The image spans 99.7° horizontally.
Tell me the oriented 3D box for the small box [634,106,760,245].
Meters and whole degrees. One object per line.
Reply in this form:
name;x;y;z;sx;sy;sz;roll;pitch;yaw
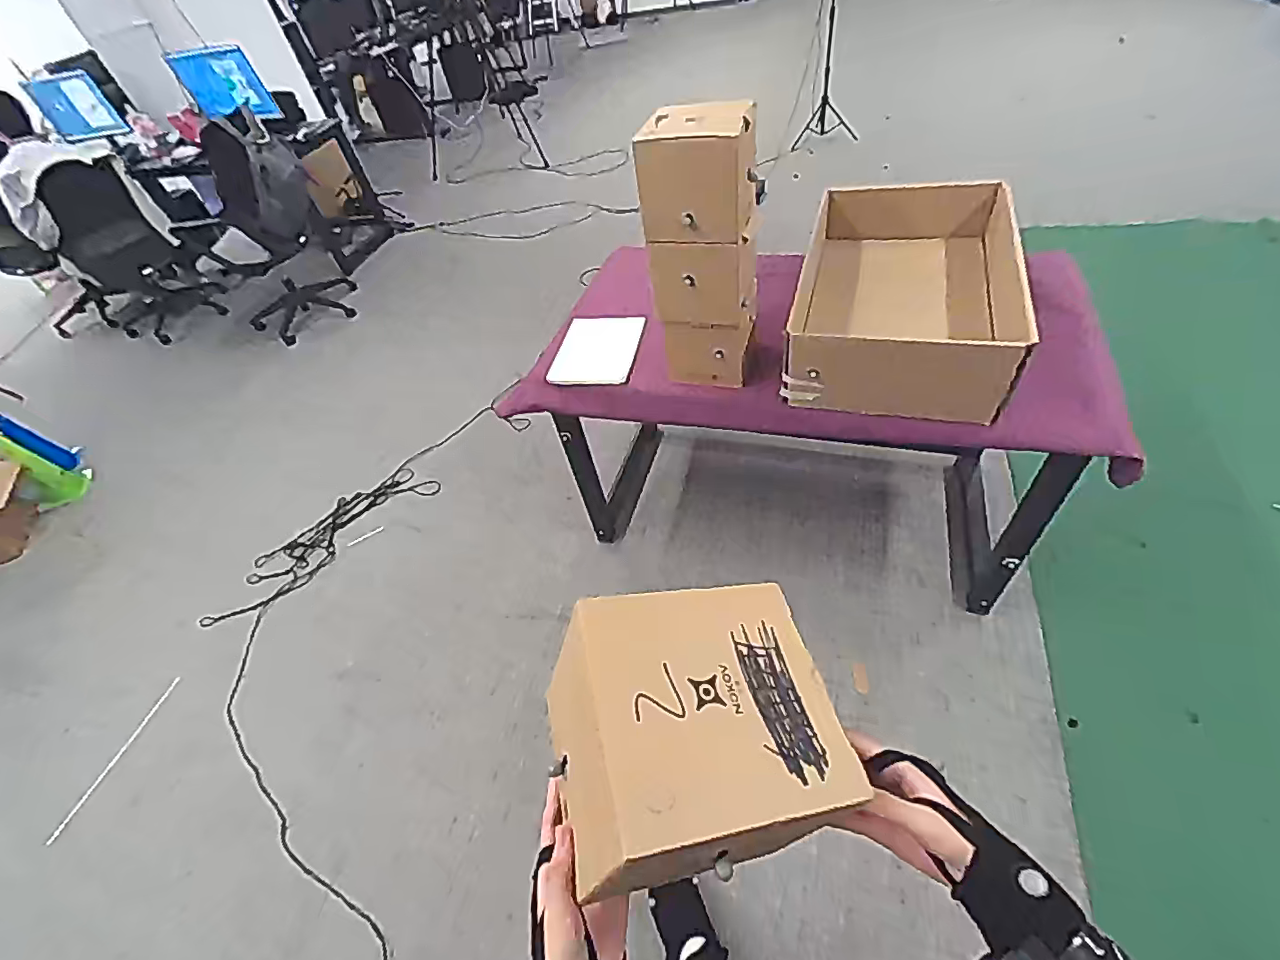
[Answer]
small box;0.106;-0.530;0.950;0.179;0.176;0.168;9;50;18

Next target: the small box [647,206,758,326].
small box;0.131;-0.422;1.072;0.179;0.176;0.168;9;50;19

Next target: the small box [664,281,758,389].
small box;0.165;-0.321;1.196;0.168;0.176;0.179;9;50;19
